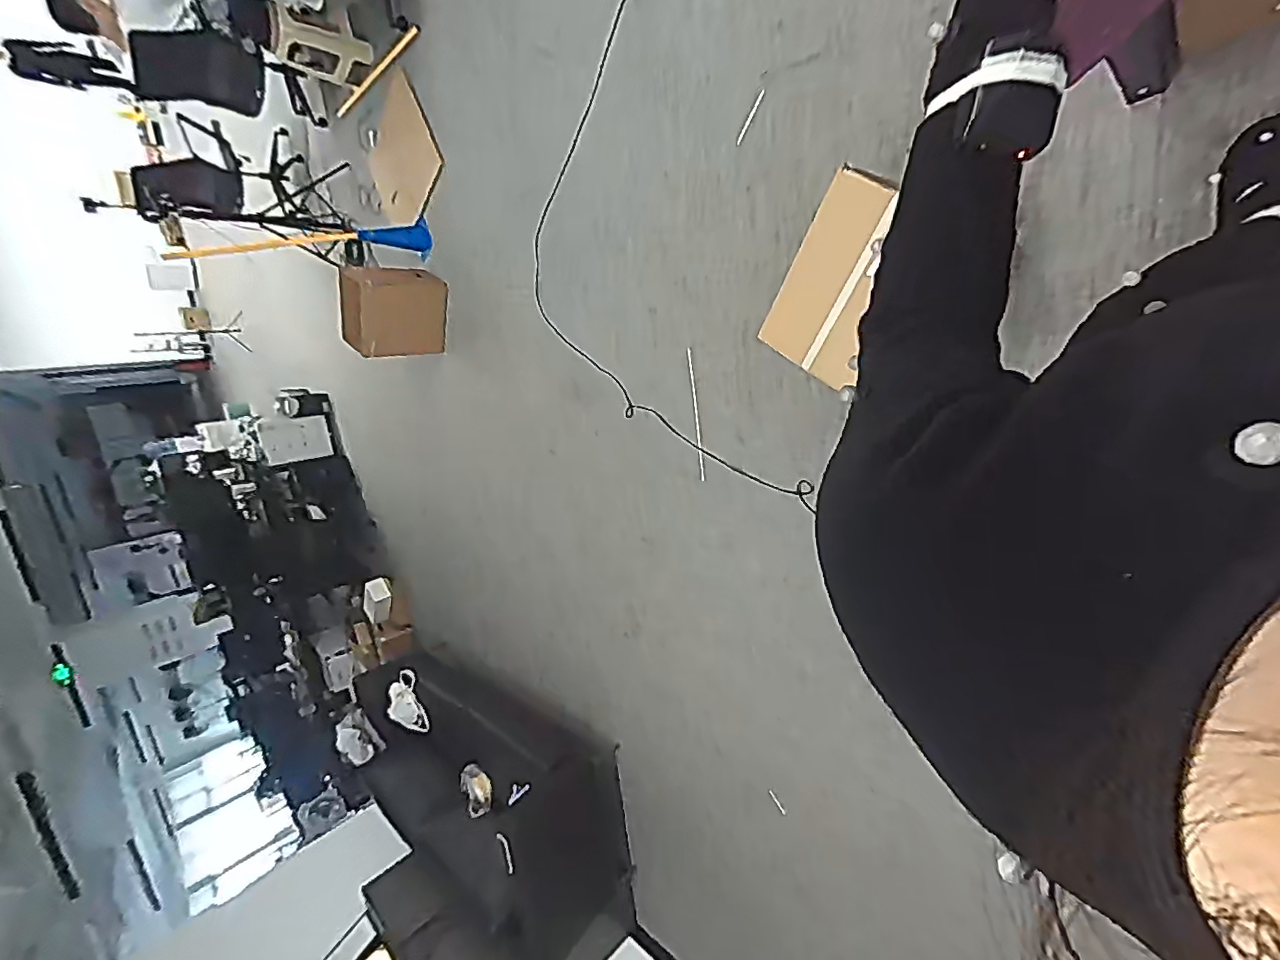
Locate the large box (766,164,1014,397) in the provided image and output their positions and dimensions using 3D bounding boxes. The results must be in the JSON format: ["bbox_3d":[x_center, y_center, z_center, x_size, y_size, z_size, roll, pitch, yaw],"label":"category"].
[{"bbox_3d":[0.576,-0.460,1.284,0.320,0.320,0.408,44,131,27],"label":"large box"}]
